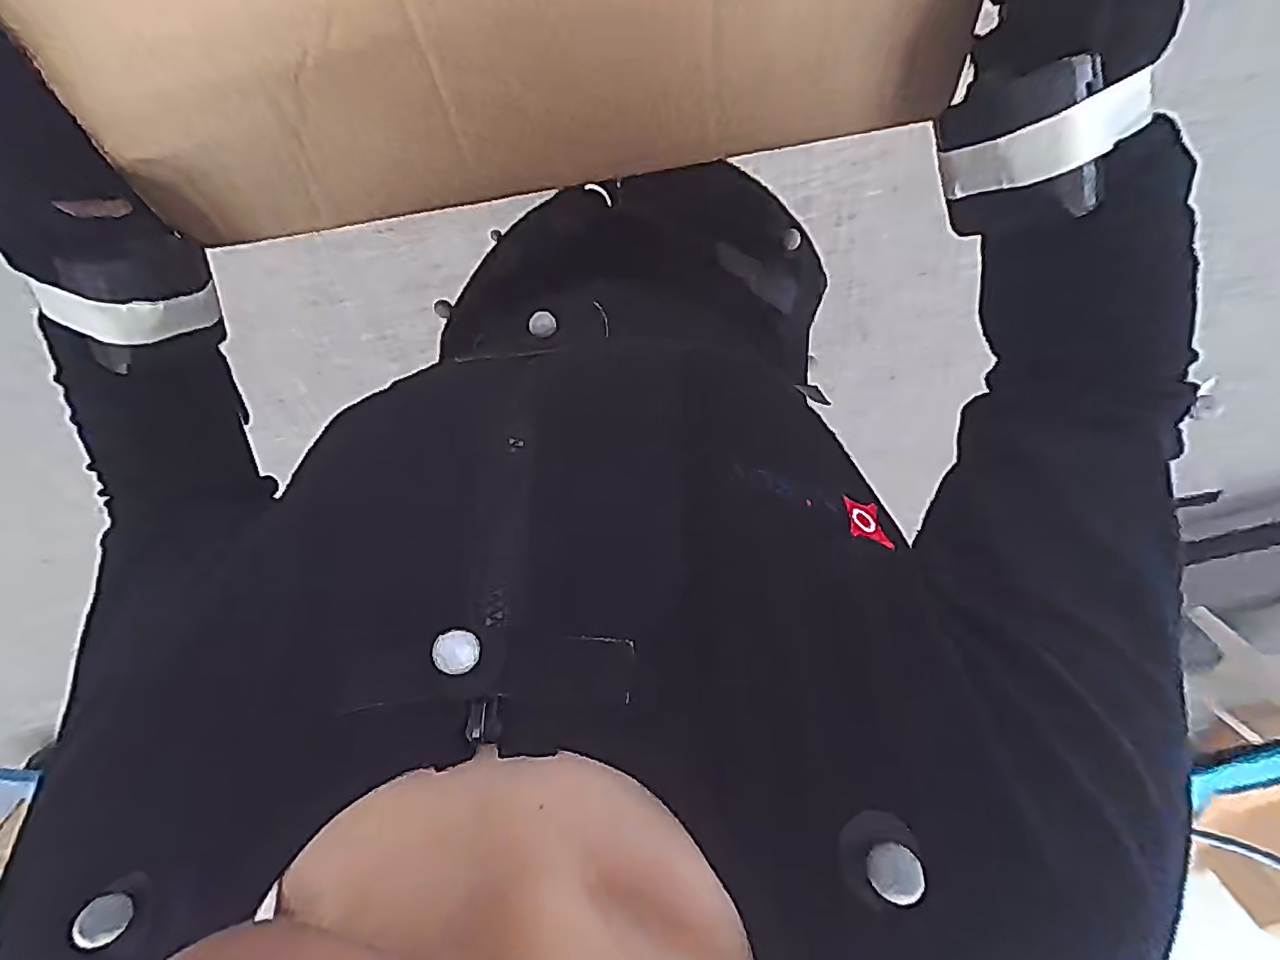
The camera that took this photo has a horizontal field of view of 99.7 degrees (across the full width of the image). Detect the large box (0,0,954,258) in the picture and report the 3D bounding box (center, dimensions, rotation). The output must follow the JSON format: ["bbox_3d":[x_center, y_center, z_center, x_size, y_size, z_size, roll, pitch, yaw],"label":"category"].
[{"bbox_3d":[-0.080,-0.363,0.249,0.408,0.320,0.320,-8,148,5],"label":"large box"}]
